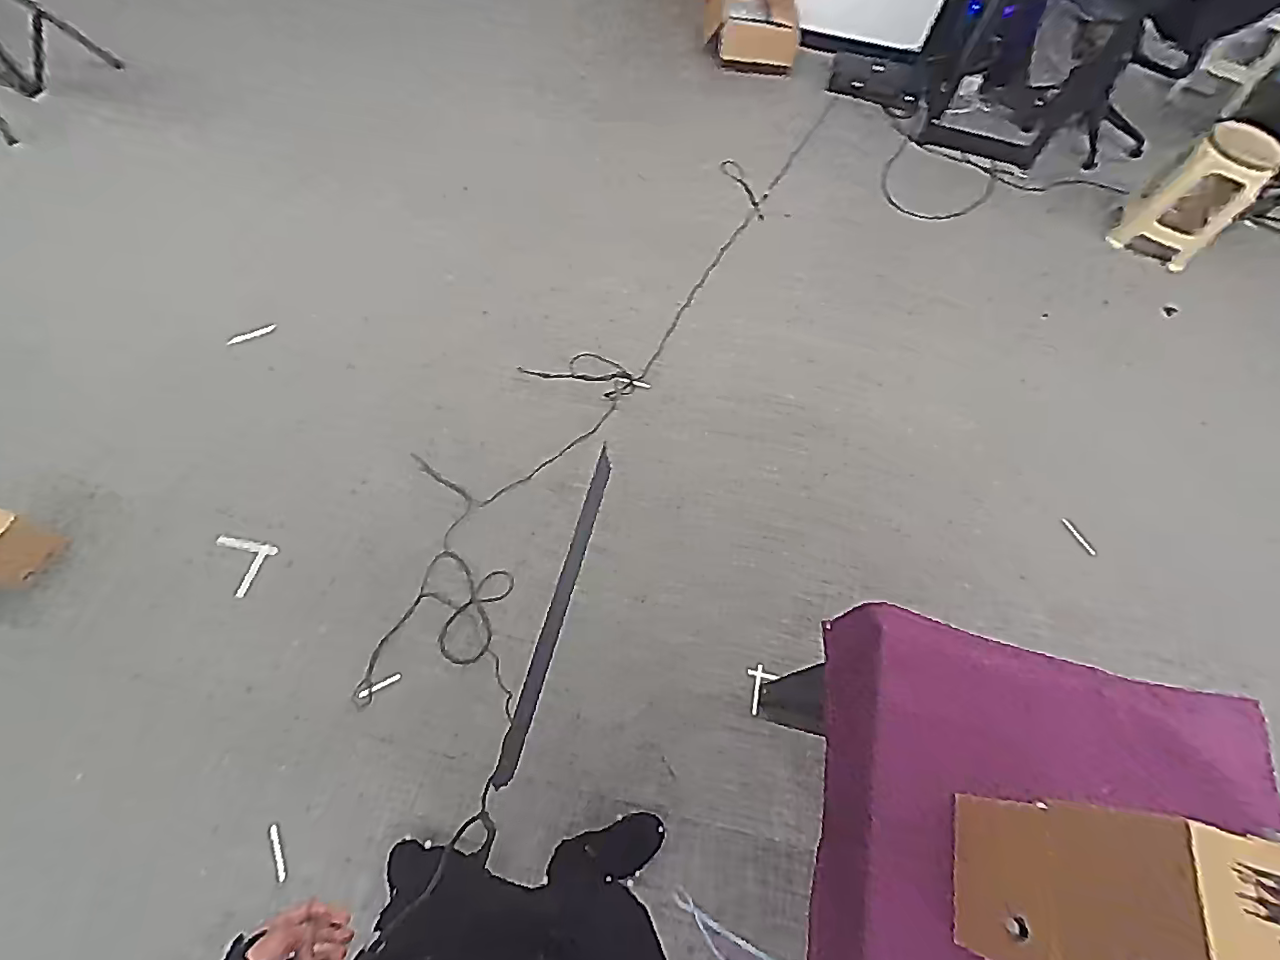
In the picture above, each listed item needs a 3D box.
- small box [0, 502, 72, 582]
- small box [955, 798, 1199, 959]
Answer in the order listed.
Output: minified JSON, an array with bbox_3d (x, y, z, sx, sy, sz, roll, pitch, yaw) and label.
[{"bbox_3d":[-1.688,0.155,1.424,0.179,0.176,0.168,18,63,4],"label":"small box"},{"bbox_3d":[0.511,0.512,0.656,0.168,0.176,0.179,17,64,2],"label":"small box"}]
